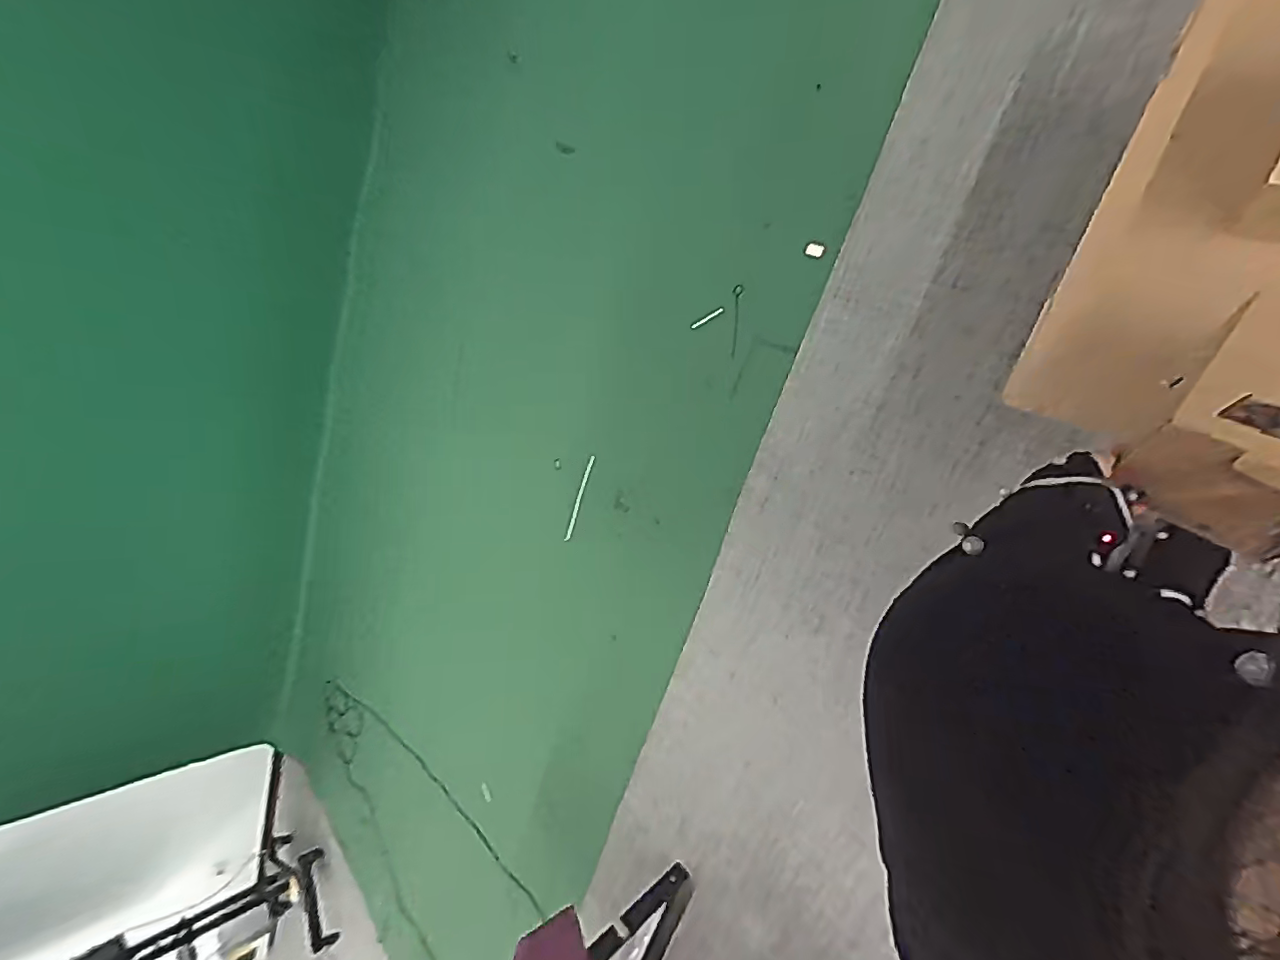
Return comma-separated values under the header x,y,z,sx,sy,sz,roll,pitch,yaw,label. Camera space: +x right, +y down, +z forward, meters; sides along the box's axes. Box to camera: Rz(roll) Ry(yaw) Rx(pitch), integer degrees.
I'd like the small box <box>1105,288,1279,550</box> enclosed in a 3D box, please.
x,y,z,sx,sy,sz,roll,pitch,yaw,label
0.636,-0.053,0.559,0.168,0.176,0.179,37,82,28,small box
